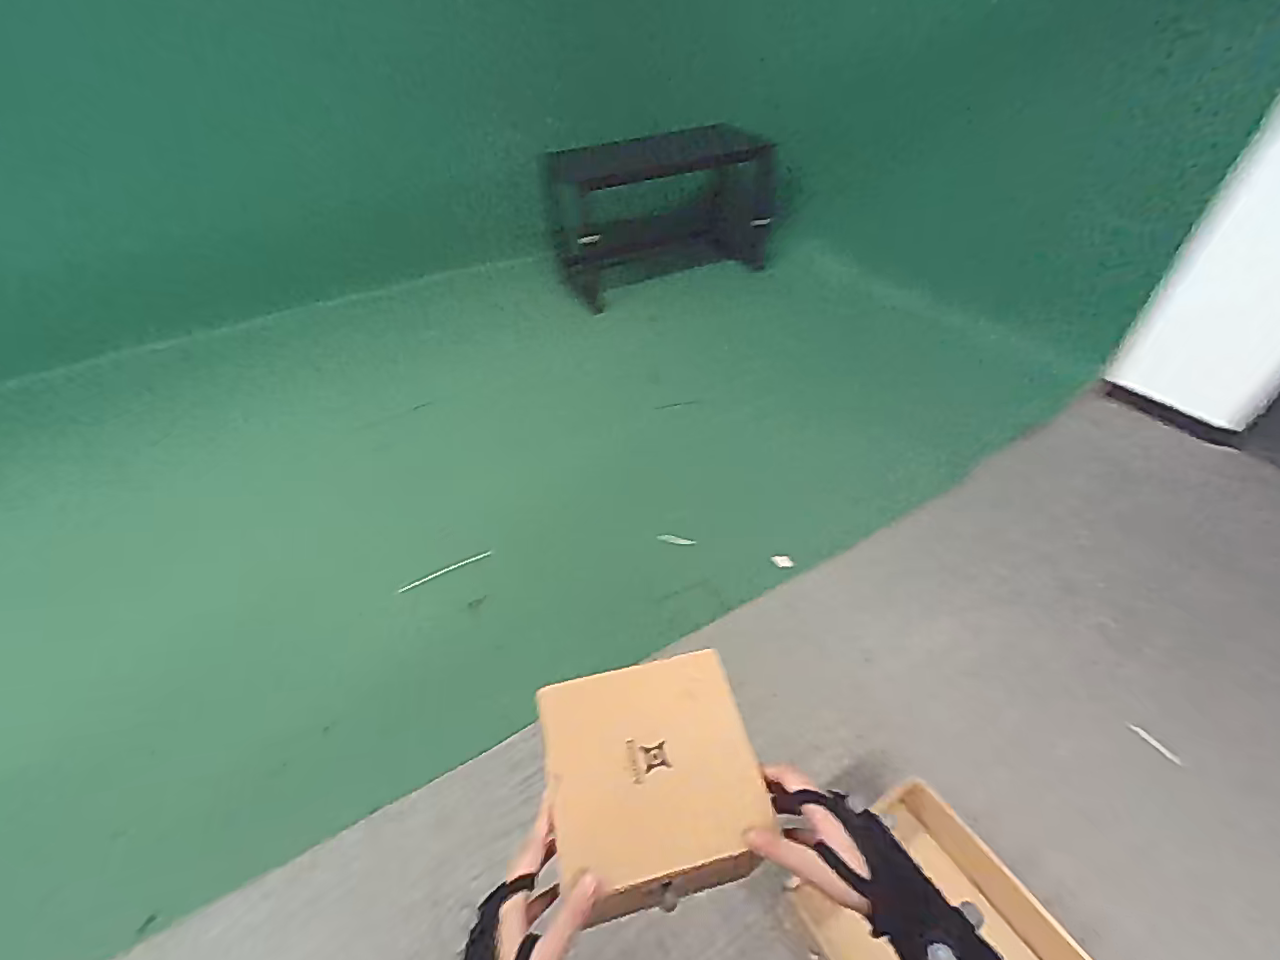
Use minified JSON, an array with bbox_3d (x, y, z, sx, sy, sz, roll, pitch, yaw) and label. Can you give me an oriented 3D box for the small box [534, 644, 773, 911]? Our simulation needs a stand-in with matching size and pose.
[{"bbox_3d":[0.003,0.286,0.522,0.179,0.176,0.168,-11,48,-9],"label":"small box"}]
